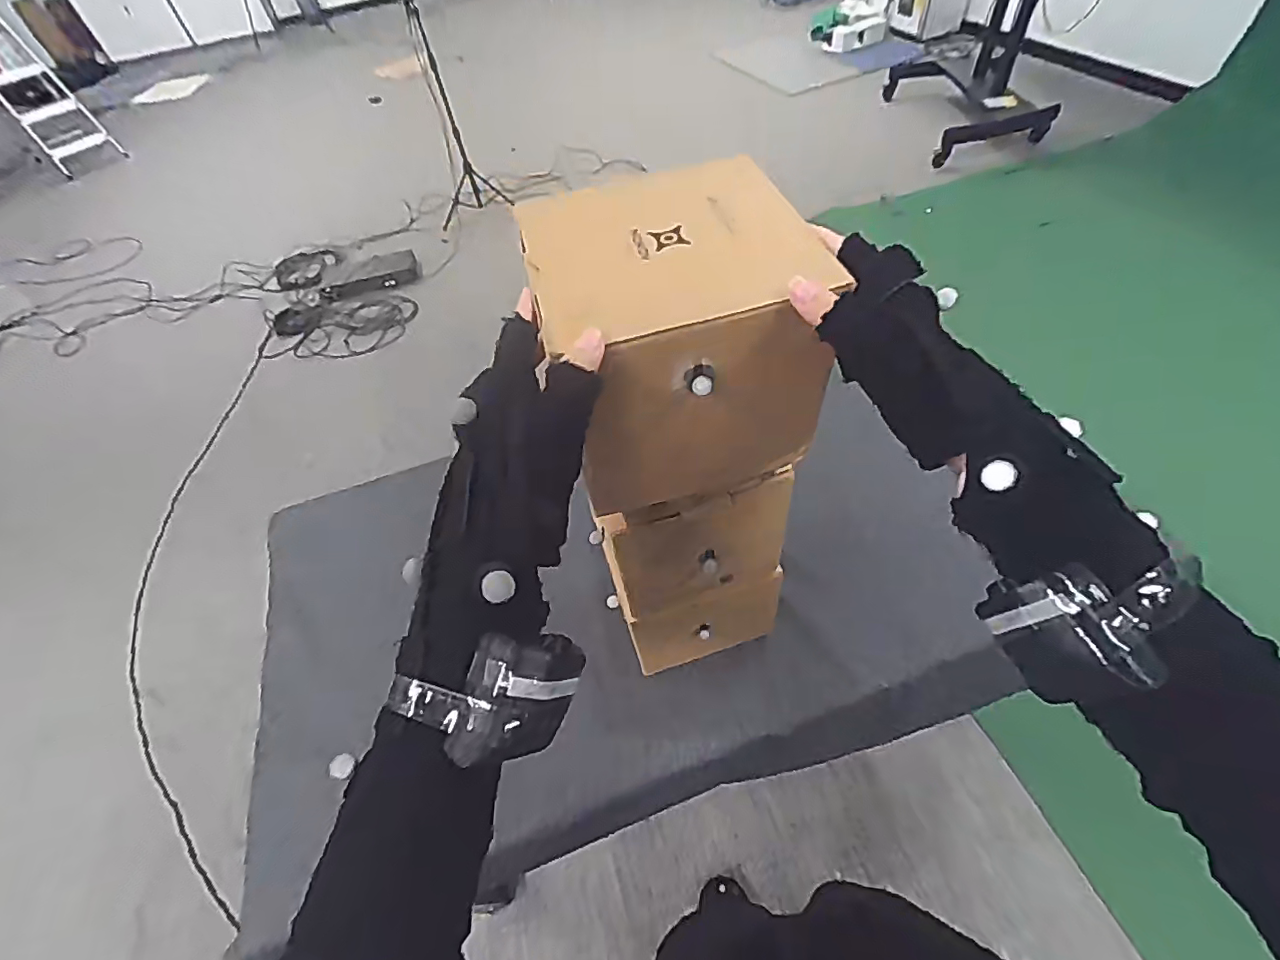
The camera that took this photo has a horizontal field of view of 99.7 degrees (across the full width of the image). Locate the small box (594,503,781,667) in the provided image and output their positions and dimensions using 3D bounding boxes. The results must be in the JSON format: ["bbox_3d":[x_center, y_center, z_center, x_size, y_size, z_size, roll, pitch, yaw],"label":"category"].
[{"bbox_3d":[0.055,0.110,0.680,0.179,0.176,0.168,-18,52,-5],"label":"small box"}]

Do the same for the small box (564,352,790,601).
[{"bbox_3d":[0.035,0.005,0.557,0.168,0.176,0.179,-18,53,-6],"label":"small box"}]
